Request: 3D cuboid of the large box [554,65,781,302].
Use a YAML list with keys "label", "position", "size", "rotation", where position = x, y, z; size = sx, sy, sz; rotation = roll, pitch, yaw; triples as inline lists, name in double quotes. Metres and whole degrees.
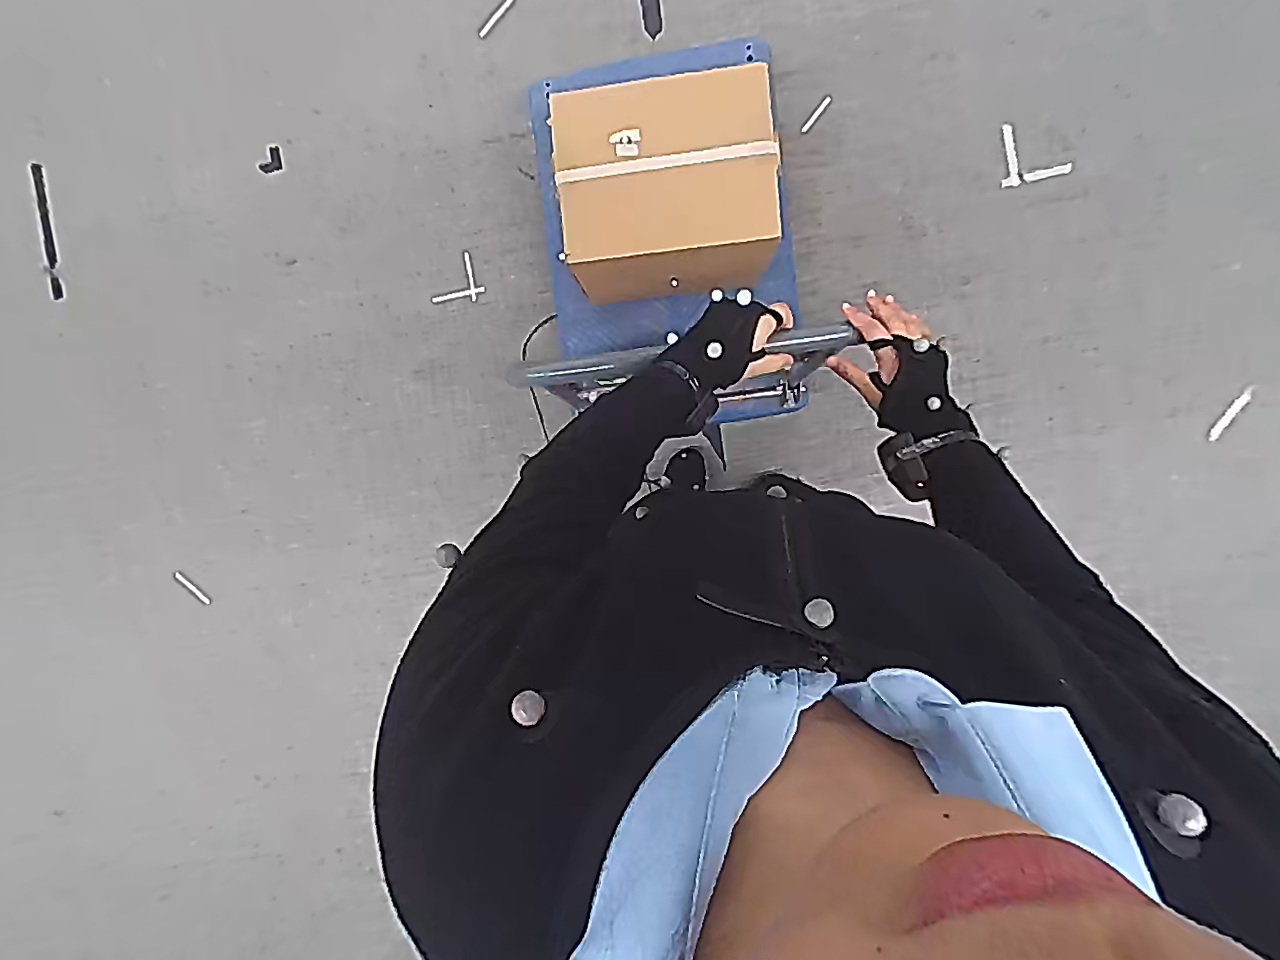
- label: "large box"
  position: [0.063, -0.594, 1.156]
  size: [0.408, 0.320, 0.320]
  rotation: [-5, 92, 5]
